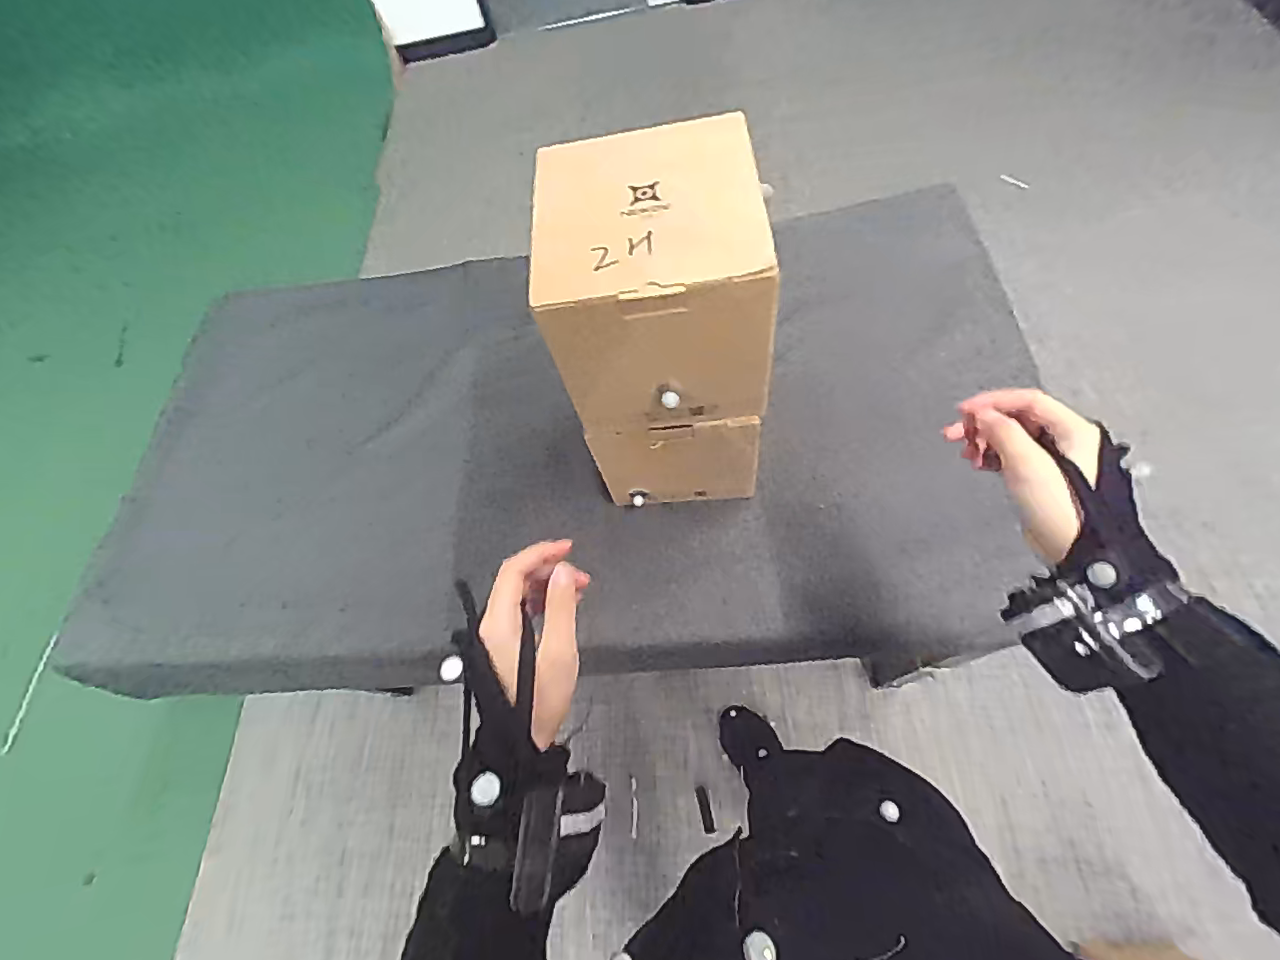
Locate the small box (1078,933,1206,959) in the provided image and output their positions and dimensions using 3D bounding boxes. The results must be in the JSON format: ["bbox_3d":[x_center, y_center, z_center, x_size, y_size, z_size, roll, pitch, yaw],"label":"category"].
[{"bbox_3d":[0.831,0.842,0.833,0.168,0.176,0.179,-3,65,9],"label":"small box"}]

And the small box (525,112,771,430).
[{"bbox_3d":[0.012,-0.165,0.460,0.168,0.176,0.179,-7,63,7],"label":"small box"}]

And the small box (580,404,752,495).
[{"bbox_3d":[0.036,-0.090,0.605,0.168,0.176,0.179,-4,63,7],"label":"small box"}]
